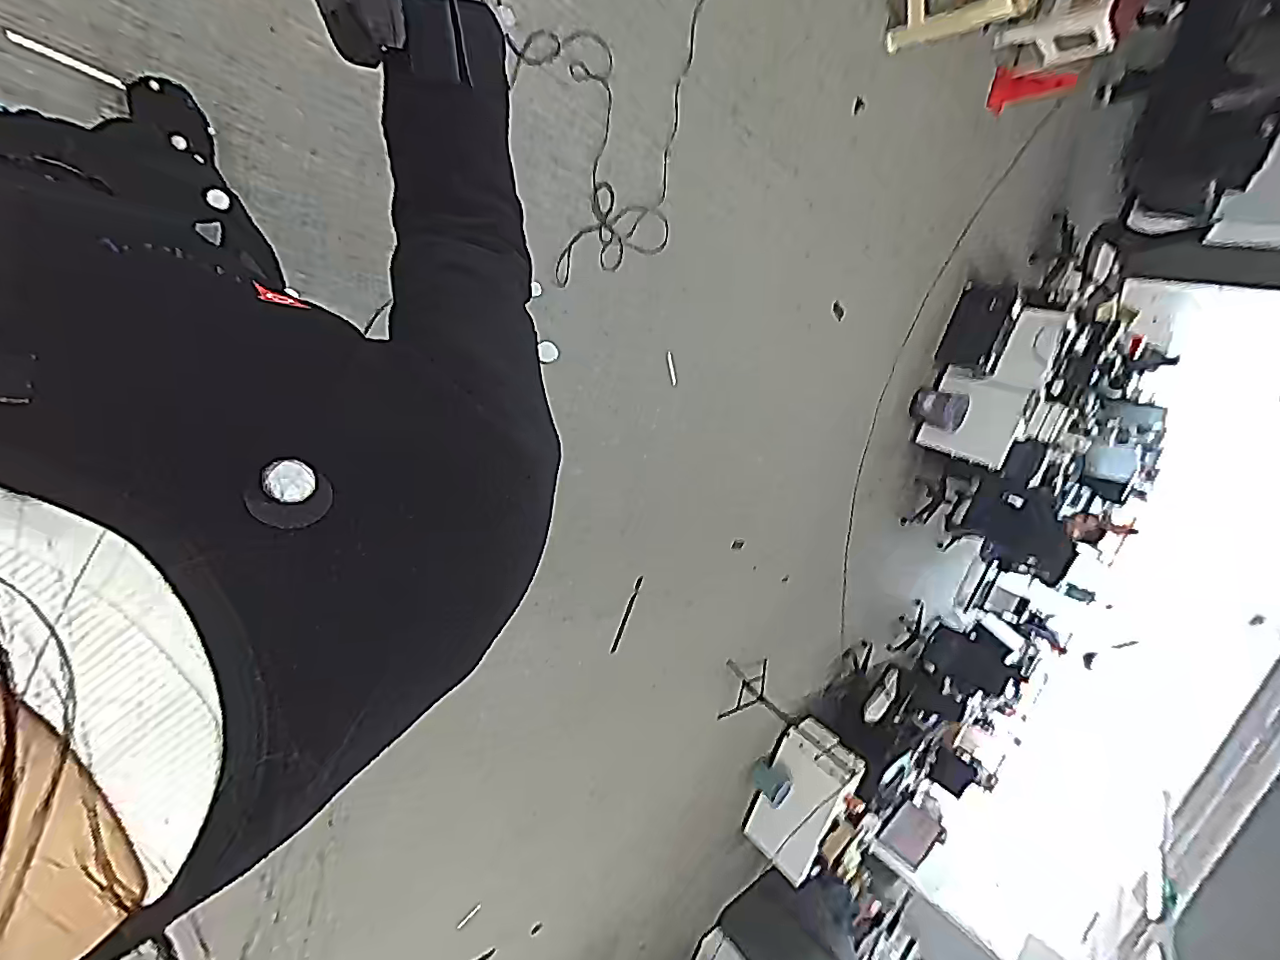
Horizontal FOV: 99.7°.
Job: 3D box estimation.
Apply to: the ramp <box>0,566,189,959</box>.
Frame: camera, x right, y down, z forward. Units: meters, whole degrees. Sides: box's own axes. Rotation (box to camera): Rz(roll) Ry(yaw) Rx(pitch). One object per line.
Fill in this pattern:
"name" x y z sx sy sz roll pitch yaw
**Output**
"ramp" -1.333 0.662 1.122 0.509 0.206 0.991 8 105 -45
